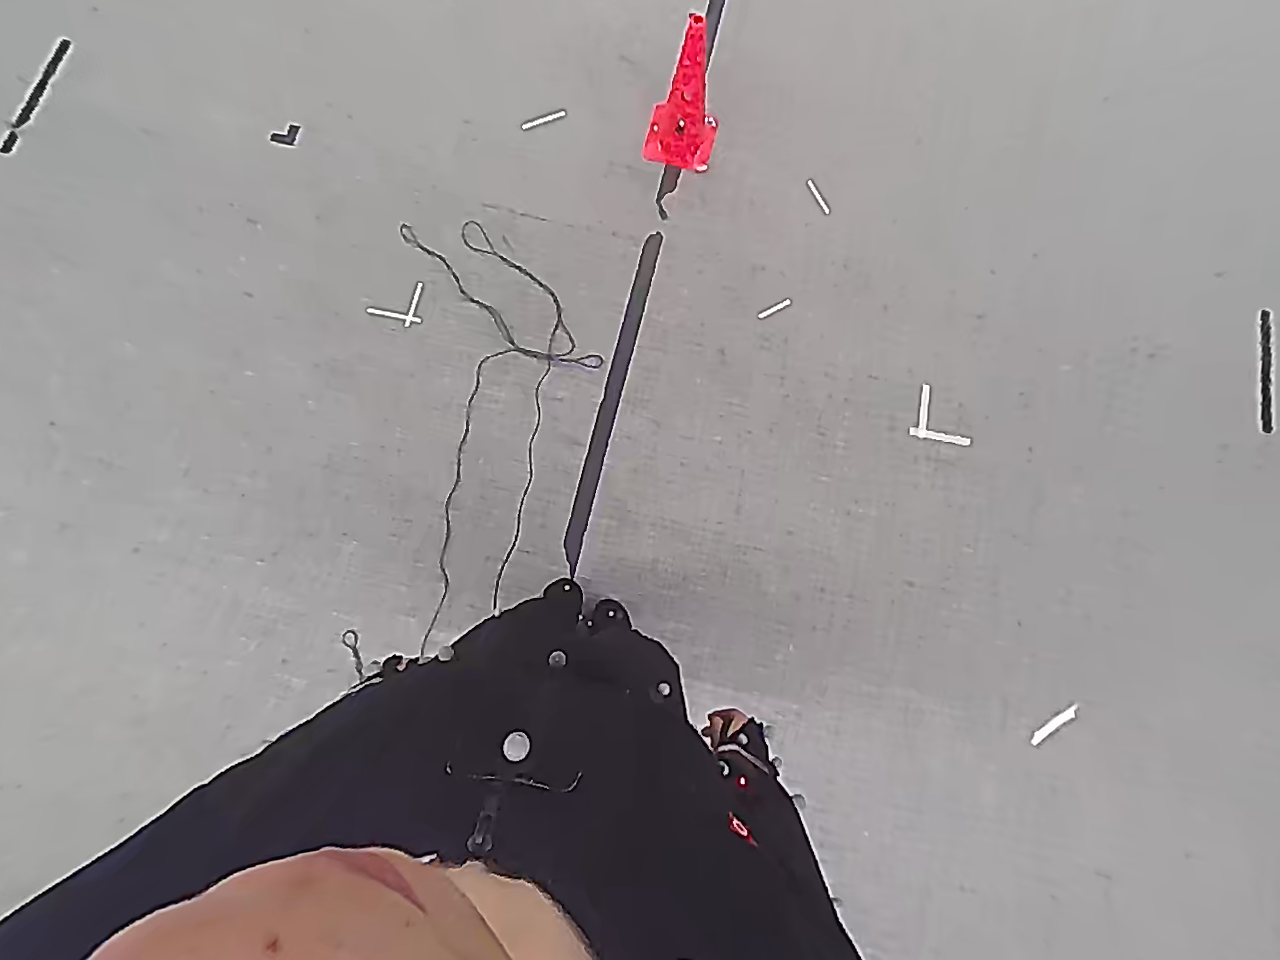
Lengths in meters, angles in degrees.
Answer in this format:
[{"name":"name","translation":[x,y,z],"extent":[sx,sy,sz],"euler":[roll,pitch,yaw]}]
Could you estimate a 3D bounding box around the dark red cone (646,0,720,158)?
[{"name":"dark red cone","translation":[0.131,-1.079,1.434],"extent":[0.201,0.394,0.202],"euler":[13,80,1]}]
